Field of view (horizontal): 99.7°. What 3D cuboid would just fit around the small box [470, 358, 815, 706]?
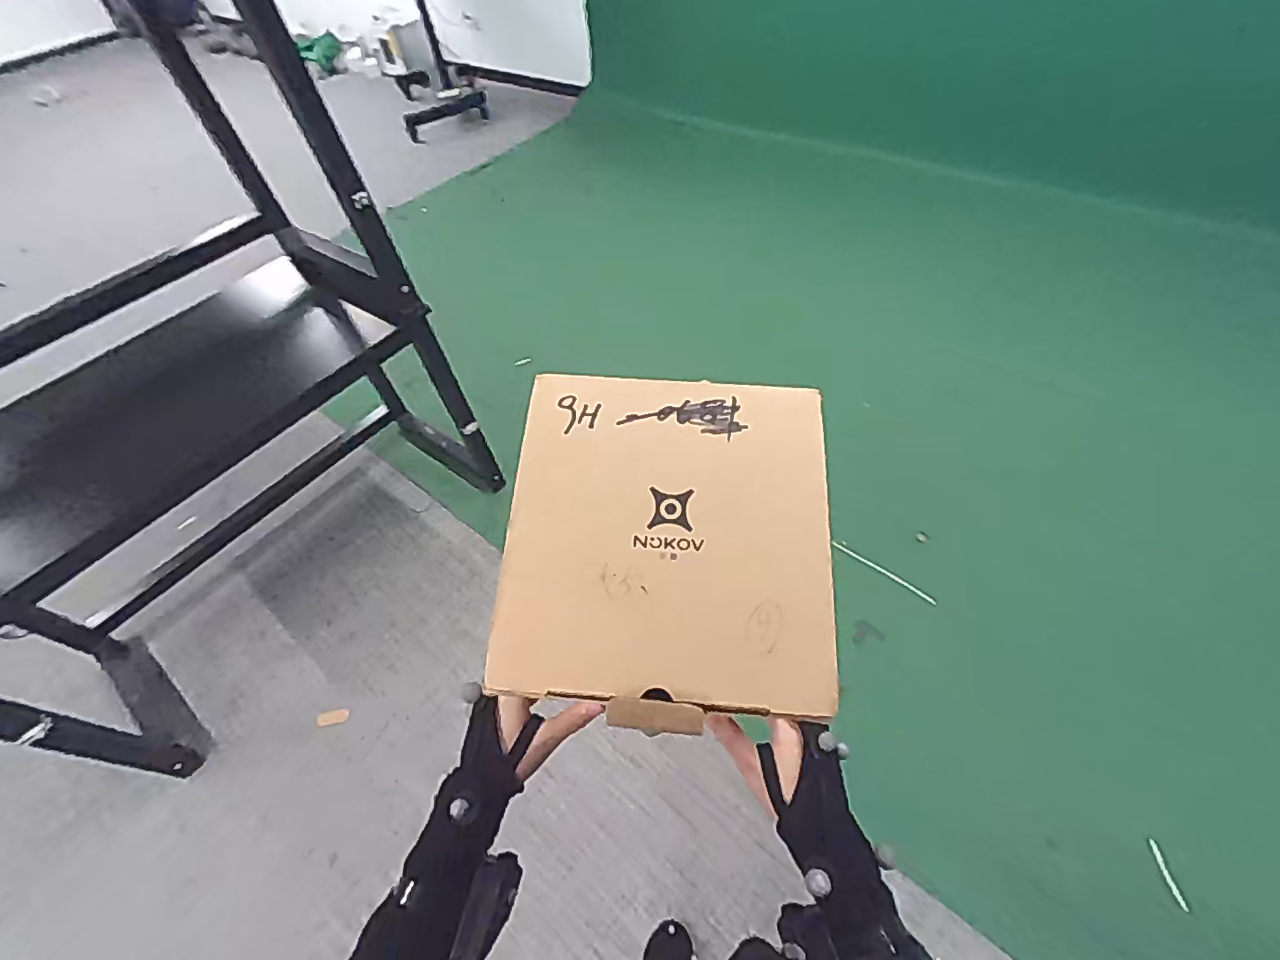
[{"bbox_3d":[0.009,0.045,0.353,0.168,0.176,0.179,4,68,2],"label":"small box"}]
